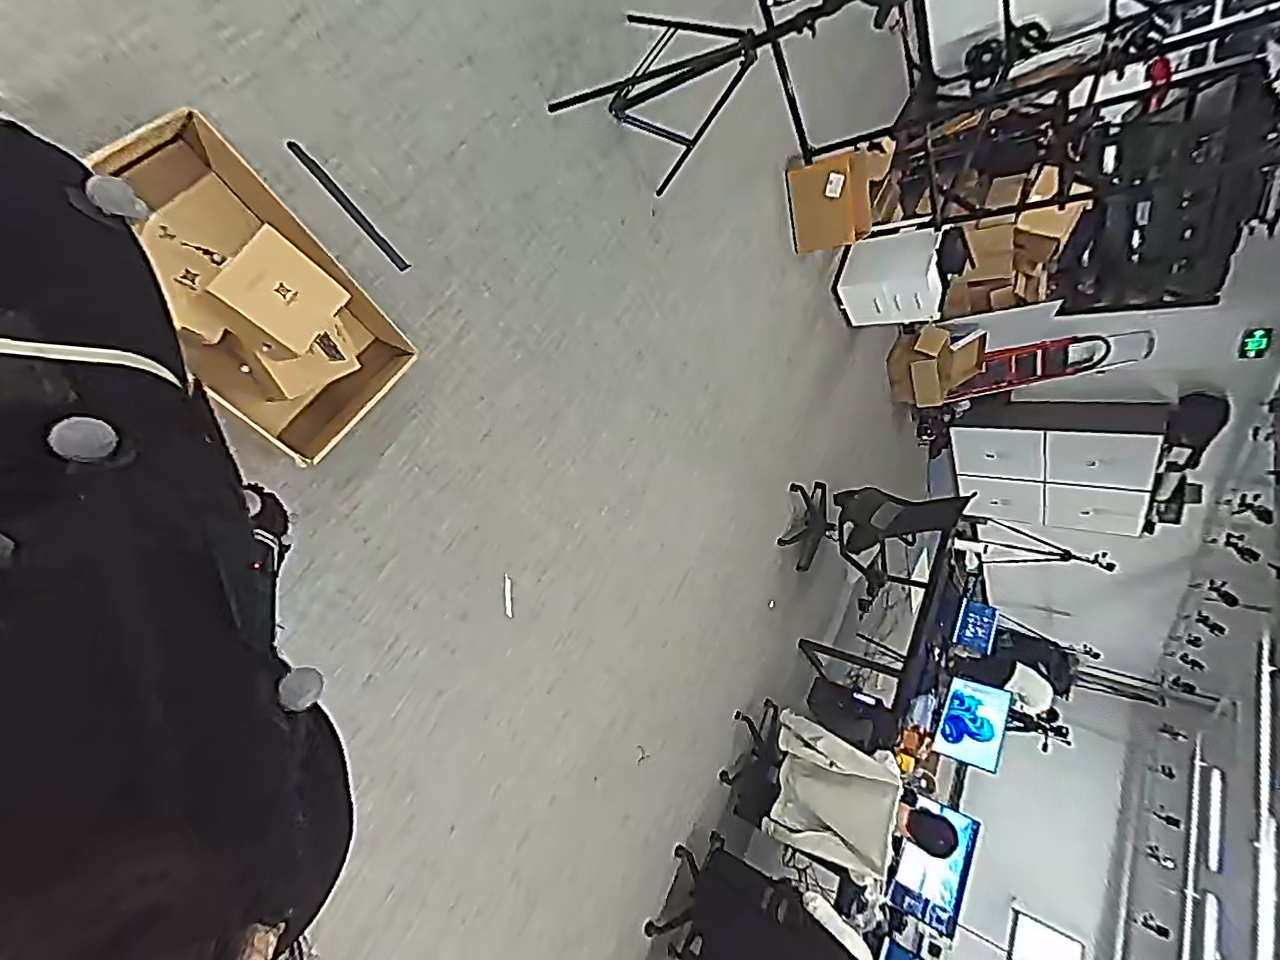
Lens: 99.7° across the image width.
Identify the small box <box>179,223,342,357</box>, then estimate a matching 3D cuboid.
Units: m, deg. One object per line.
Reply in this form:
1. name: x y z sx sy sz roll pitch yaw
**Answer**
1. small box: -0.726 -0.353 1.038 0.179 0.176 0.168 45 61 -43
